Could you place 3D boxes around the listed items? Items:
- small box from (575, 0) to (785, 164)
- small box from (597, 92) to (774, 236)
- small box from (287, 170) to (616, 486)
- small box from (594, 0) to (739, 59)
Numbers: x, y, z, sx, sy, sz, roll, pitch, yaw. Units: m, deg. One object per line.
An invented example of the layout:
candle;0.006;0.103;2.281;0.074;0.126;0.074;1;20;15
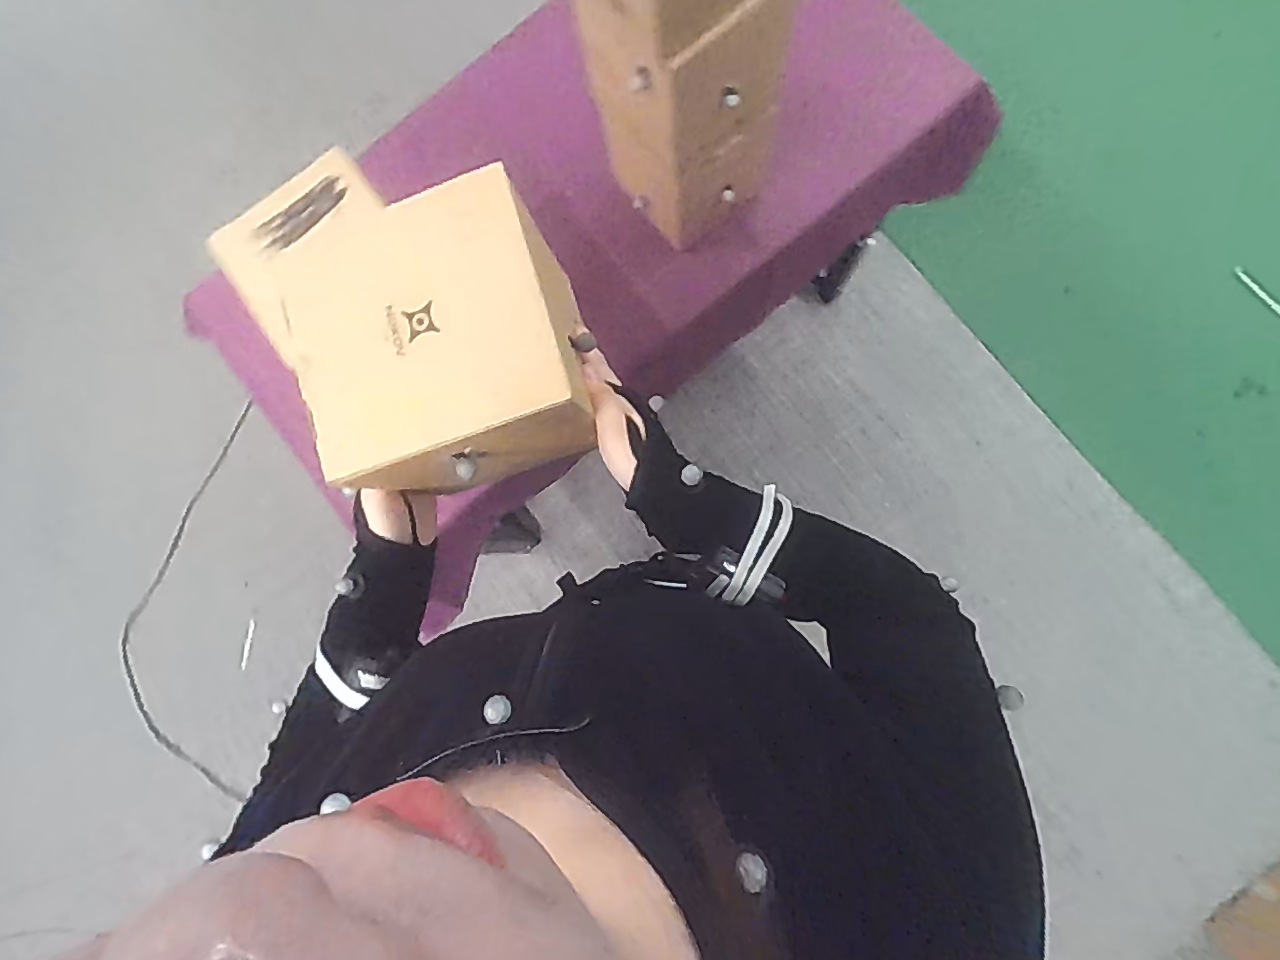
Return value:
small box;0.048;-0.503;0.615;0.168;0.176;0.179;-39;81;-1
small box;0.065;-0.486;0.779;0.168;0.176;0.179;-38;82;0
small box;-0.126;-0.097;0.432;0.179;0.176;0.168;-18;85;7
small box;0.026;-0.524;0.454;0.179;0.176;0.168;-39;80;1
